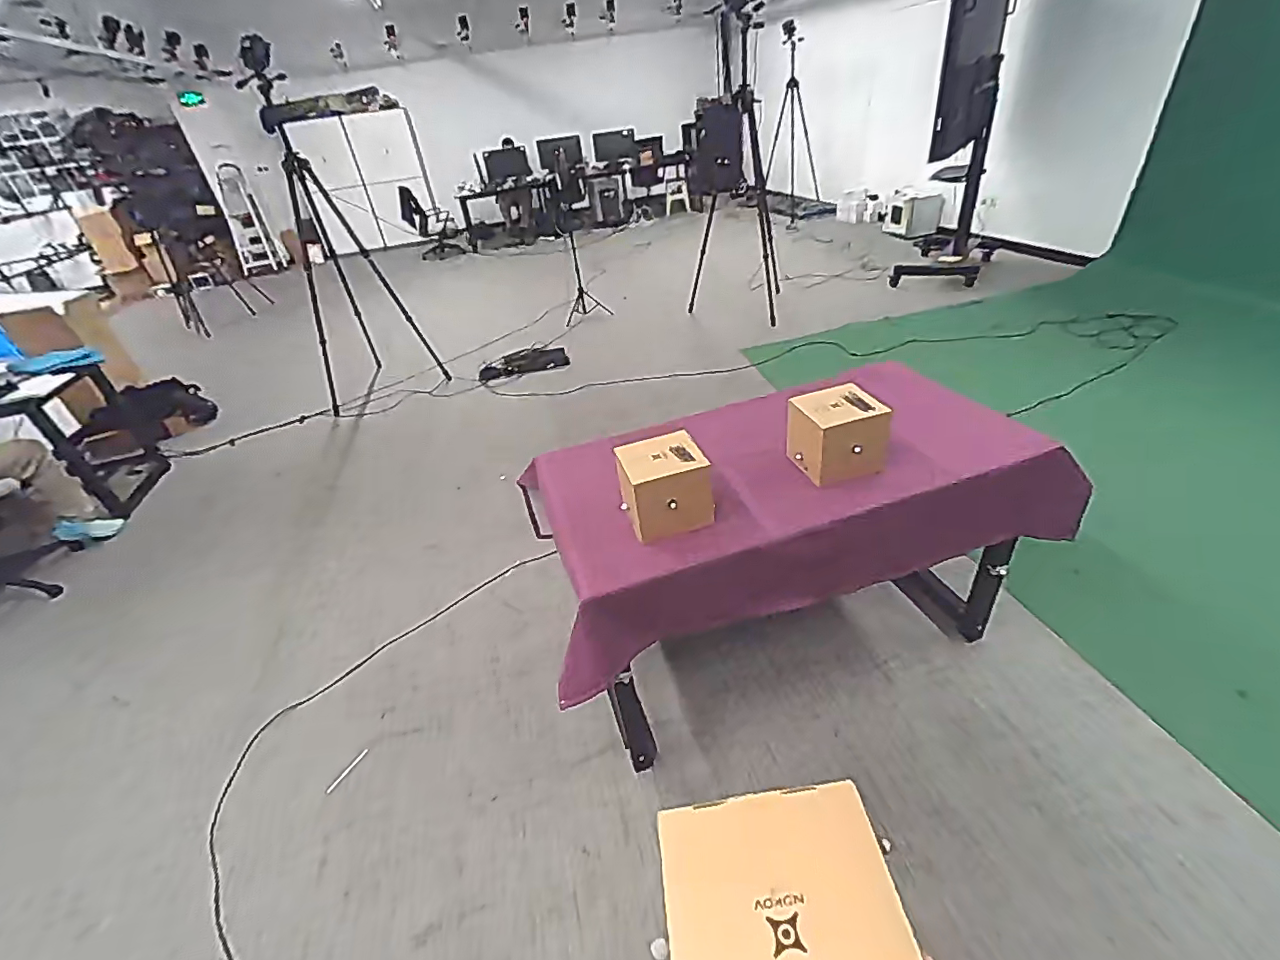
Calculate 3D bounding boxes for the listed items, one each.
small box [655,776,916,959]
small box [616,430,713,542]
[{"bbox_3d":[0.113,0.372,0.424,0.168,0.176,0.179,-11,34,2],"label":"small box"},{"bbox_3d":[0.057,0.013,1.229,0.179,0.176,0.168,-15,35,-9],"label":"small box"}]
